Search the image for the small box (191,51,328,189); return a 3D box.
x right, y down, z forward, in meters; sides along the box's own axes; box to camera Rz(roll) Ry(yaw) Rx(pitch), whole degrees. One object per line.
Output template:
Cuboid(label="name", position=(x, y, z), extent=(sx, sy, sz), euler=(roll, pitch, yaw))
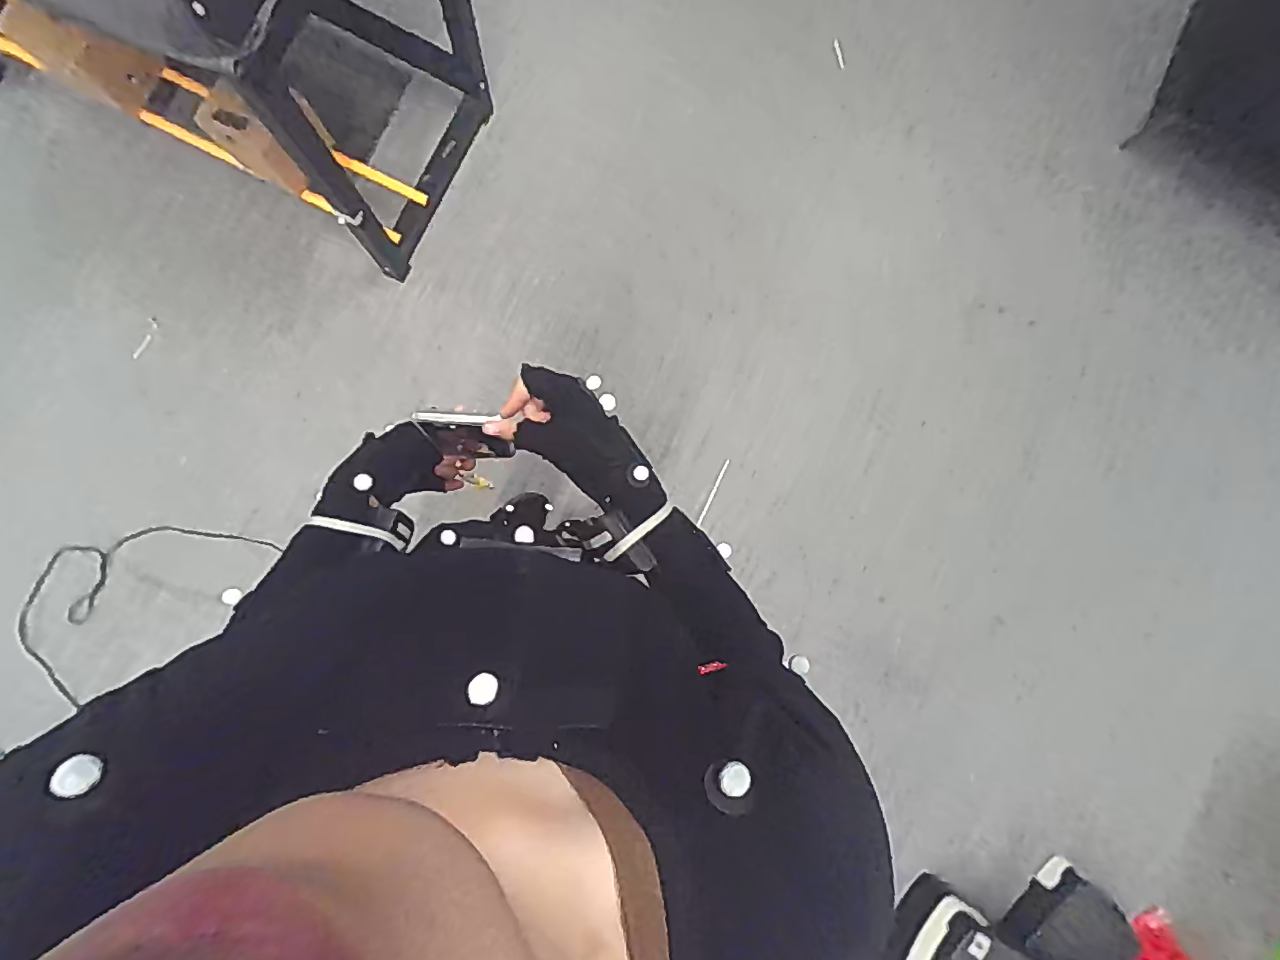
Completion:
Cuboid(label="small box", position=(-0.877, -0.830, 1.268), extent=(0.168, 0.176, 0.179), euler=(29, 84, -4))
